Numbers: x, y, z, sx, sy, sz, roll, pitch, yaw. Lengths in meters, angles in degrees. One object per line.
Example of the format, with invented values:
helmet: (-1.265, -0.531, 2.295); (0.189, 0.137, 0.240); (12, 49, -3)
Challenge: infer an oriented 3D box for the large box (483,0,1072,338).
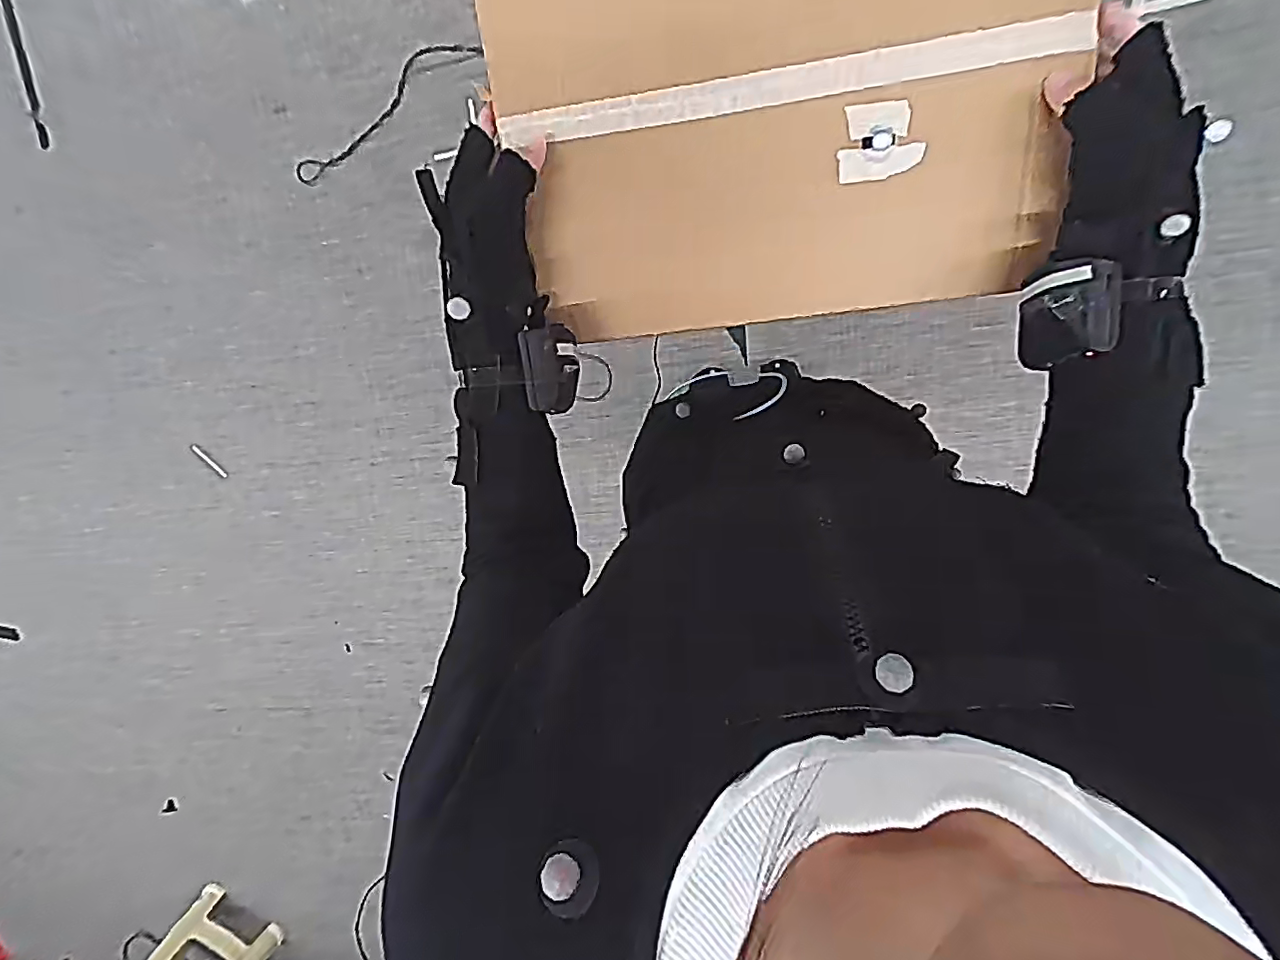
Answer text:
large box: (0.104, -0.335, 0.529); (0.408, 0.320, 0.320); (-6, 110, 6)
